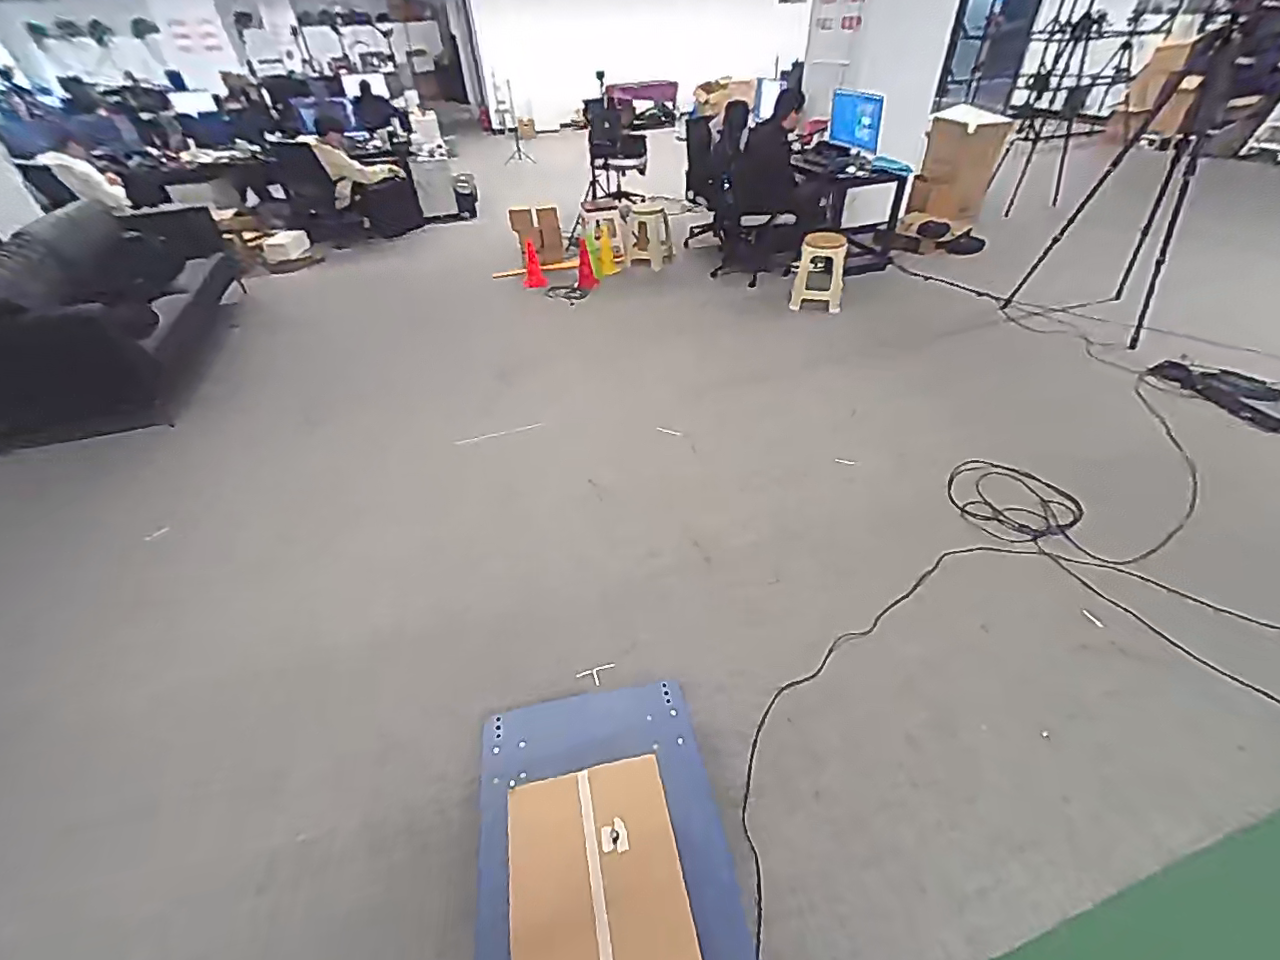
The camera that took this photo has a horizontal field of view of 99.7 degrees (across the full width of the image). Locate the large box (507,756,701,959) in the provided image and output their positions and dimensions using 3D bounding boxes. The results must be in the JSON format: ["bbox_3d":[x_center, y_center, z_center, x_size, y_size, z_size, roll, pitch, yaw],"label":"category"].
[{"bbox_3d":[-0.073,0.853,1.082,0.320,0.320,0.408,-10,40,-8],"label":"large box"}]
